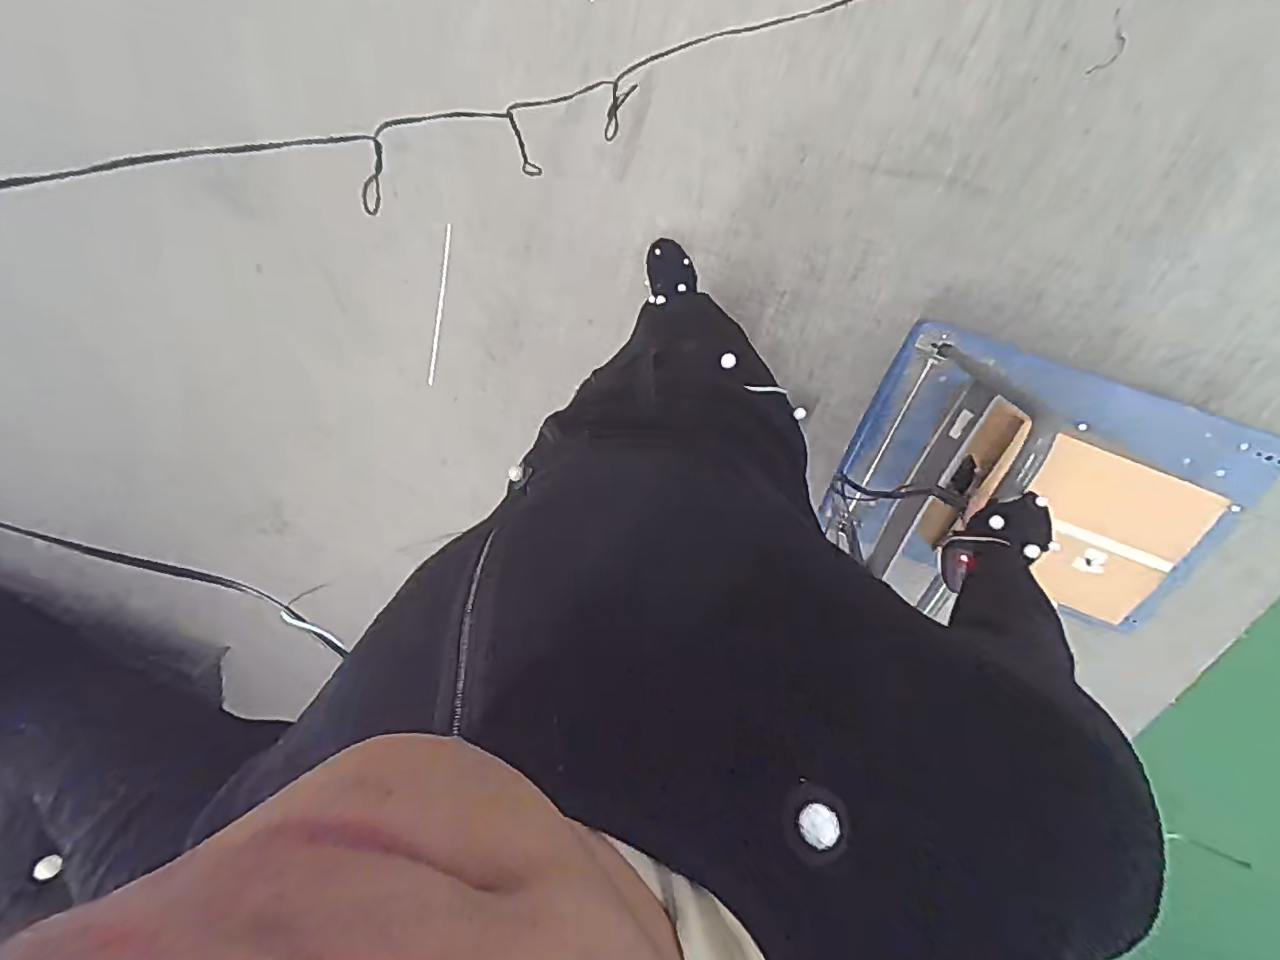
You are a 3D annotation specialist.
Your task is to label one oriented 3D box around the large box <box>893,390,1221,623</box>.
[{"bbox_3d":[0.850,0.039,1.184,0.408,0.320,0.320,22,115,0],"label":"large box"}]
